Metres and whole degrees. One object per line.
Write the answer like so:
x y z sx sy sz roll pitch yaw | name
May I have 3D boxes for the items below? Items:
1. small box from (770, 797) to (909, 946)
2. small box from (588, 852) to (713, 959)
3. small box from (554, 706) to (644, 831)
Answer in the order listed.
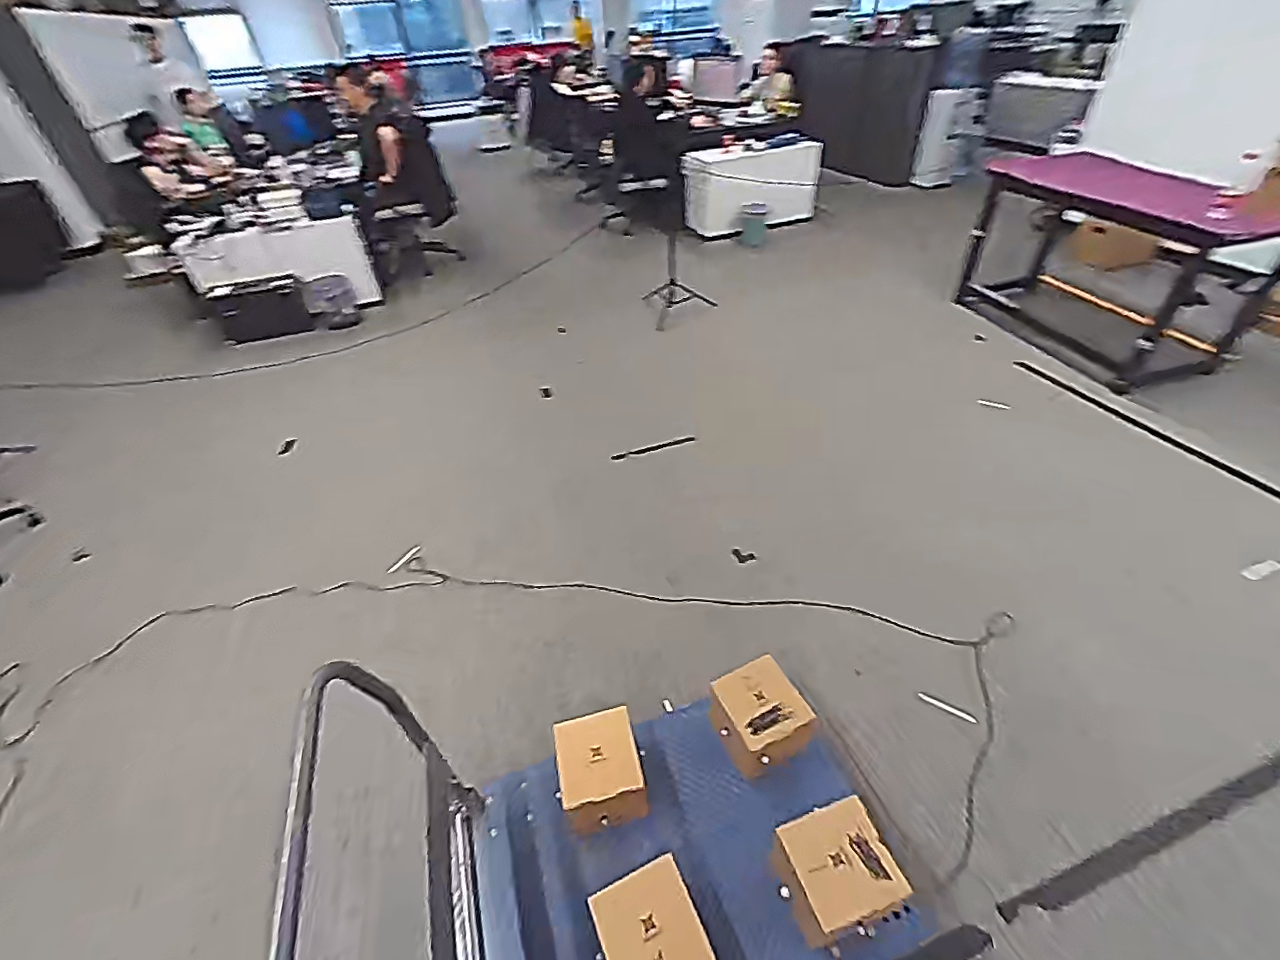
0.363 0.740 1.023 0.179 0.176 0.168 -15 42 -11 | small box
0.017 0.818 0.965 0.168 0.176 0.179 -19 43 -15 | small box
-0.089 0.633 1.188 0.168 0.176 0.179 -11 43 -9 | small box
